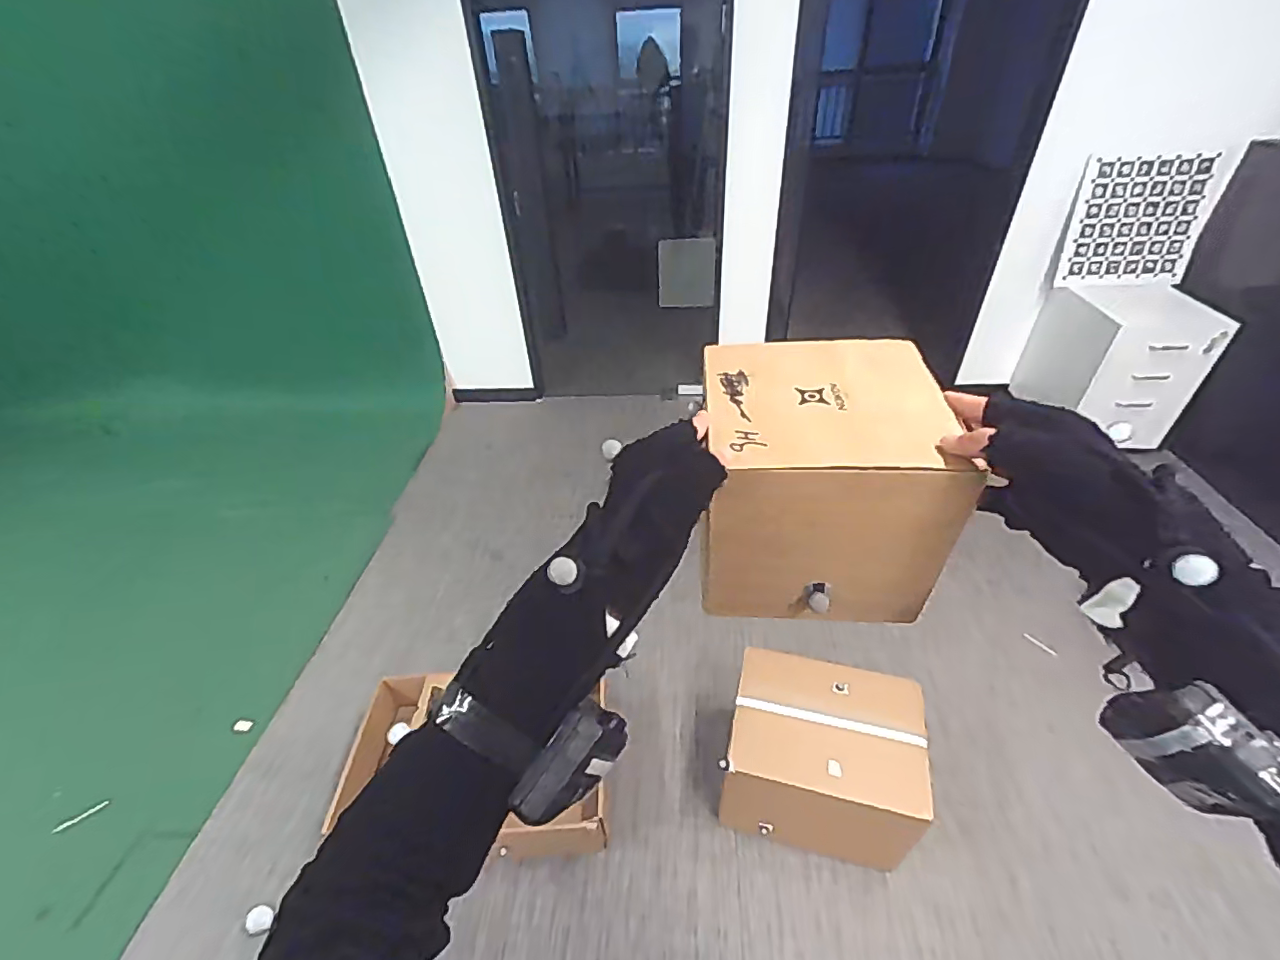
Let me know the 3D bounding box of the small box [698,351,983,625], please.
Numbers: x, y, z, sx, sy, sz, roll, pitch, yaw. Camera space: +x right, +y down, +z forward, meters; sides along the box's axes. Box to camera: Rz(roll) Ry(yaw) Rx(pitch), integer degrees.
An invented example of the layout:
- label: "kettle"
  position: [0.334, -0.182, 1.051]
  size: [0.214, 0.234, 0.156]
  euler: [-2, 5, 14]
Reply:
- label: "small box"
  position: [0.141, 0.007, 0.460]
  size: [0.179, 0.176, 0.168]
  euler: [1, 41, 5]

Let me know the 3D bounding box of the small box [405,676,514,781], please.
- label: "small box"
  position: [-0.403, 0.571, 1.241]
  size: [0.179, 0.176, 0.168]
  euler: [0, 39, 2]
